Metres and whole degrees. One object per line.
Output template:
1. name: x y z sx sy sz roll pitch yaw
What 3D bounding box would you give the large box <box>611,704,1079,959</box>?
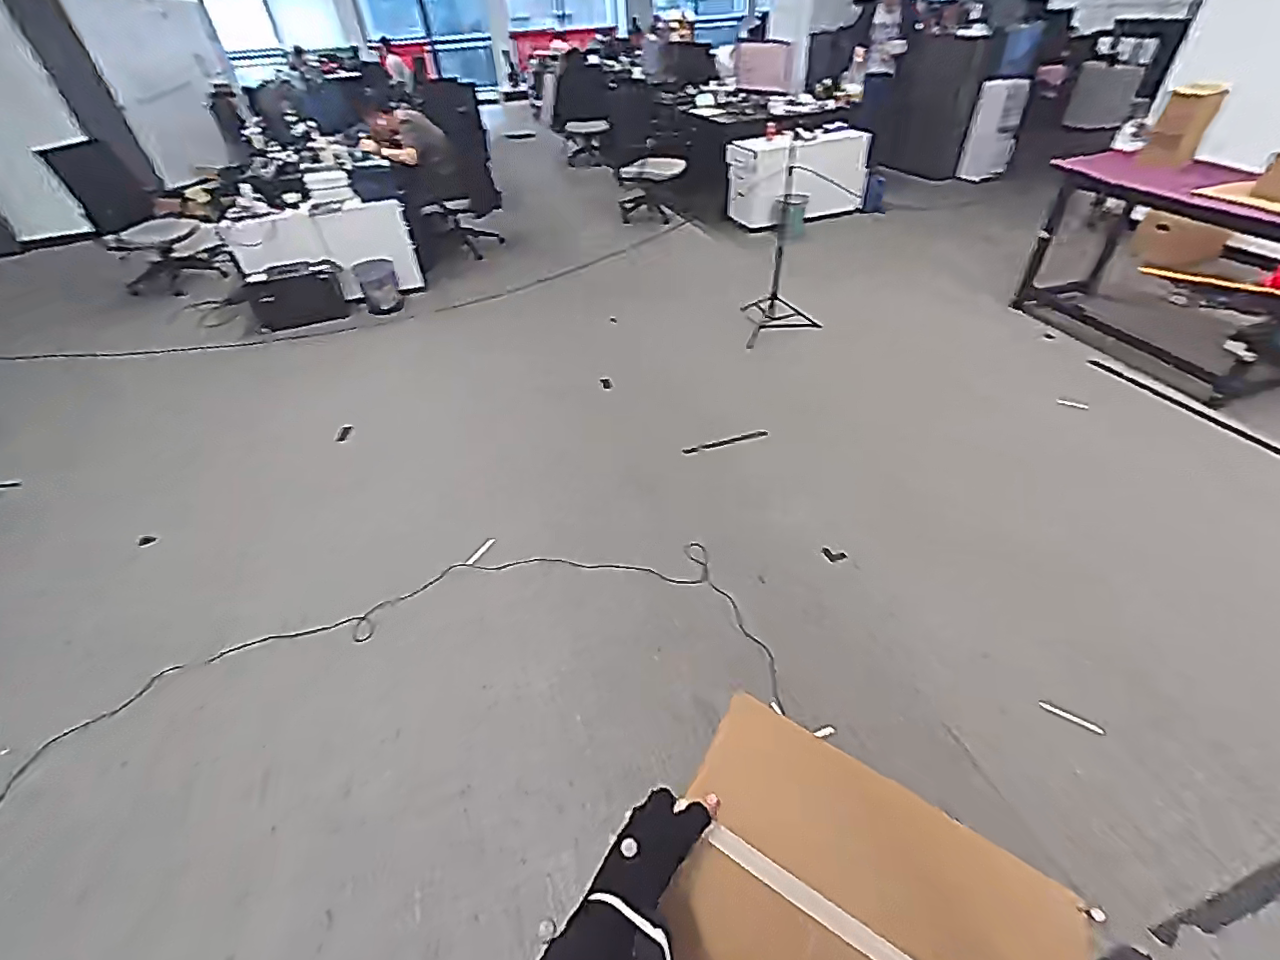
1. large box: 0.209 0.557 0.660 0.408 0.320 0.320 27 55 19
